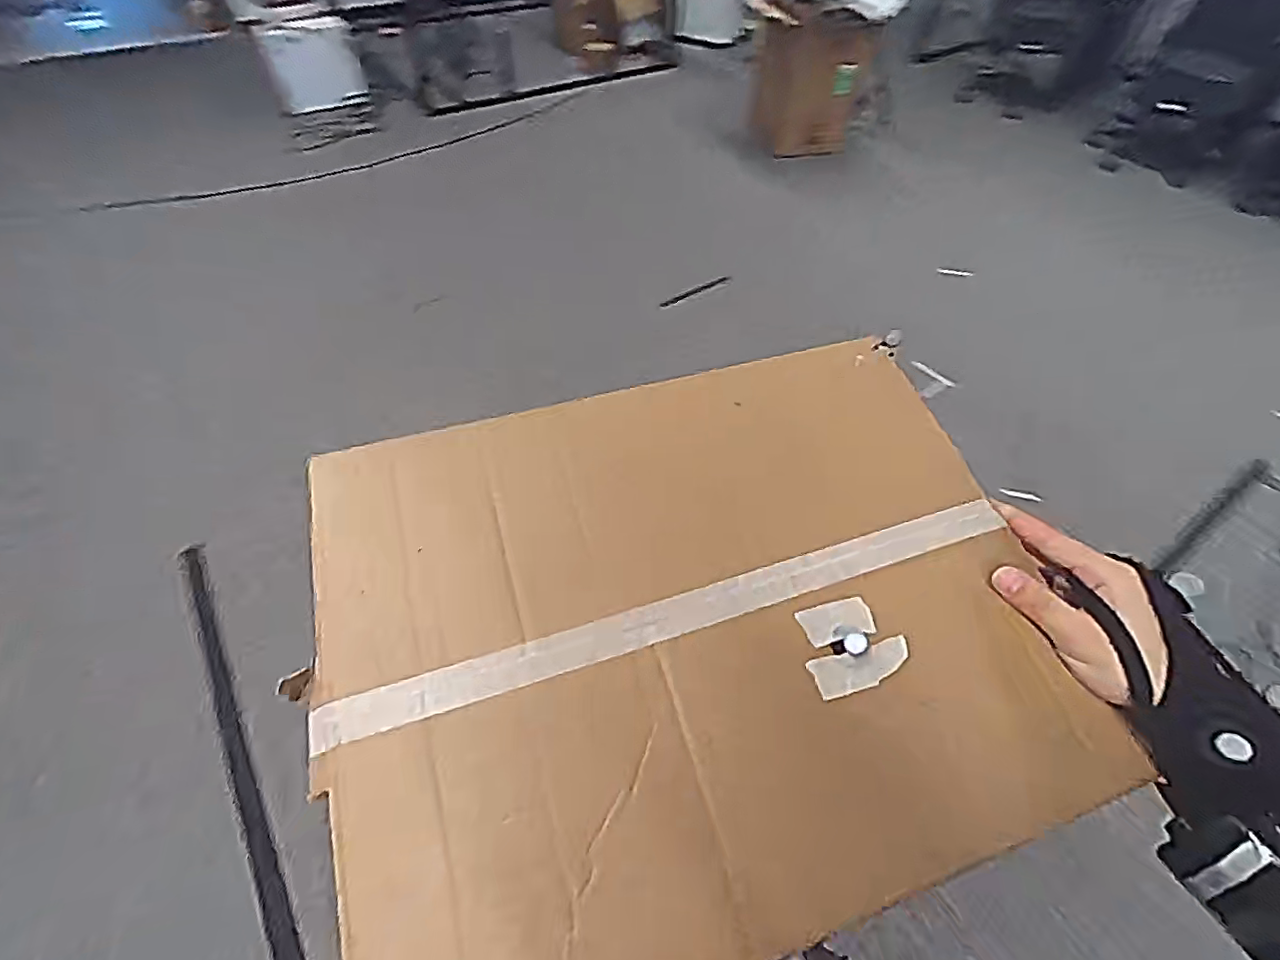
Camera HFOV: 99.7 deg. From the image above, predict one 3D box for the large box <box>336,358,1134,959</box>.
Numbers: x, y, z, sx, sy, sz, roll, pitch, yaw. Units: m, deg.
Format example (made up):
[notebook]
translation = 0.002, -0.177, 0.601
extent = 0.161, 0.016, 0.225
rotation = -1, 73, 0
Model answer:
[large box]
translation = 0.029, 0.150, 0.449
extent = 0.408, 0.320, 0.320
rotation = -14, 65, -12
